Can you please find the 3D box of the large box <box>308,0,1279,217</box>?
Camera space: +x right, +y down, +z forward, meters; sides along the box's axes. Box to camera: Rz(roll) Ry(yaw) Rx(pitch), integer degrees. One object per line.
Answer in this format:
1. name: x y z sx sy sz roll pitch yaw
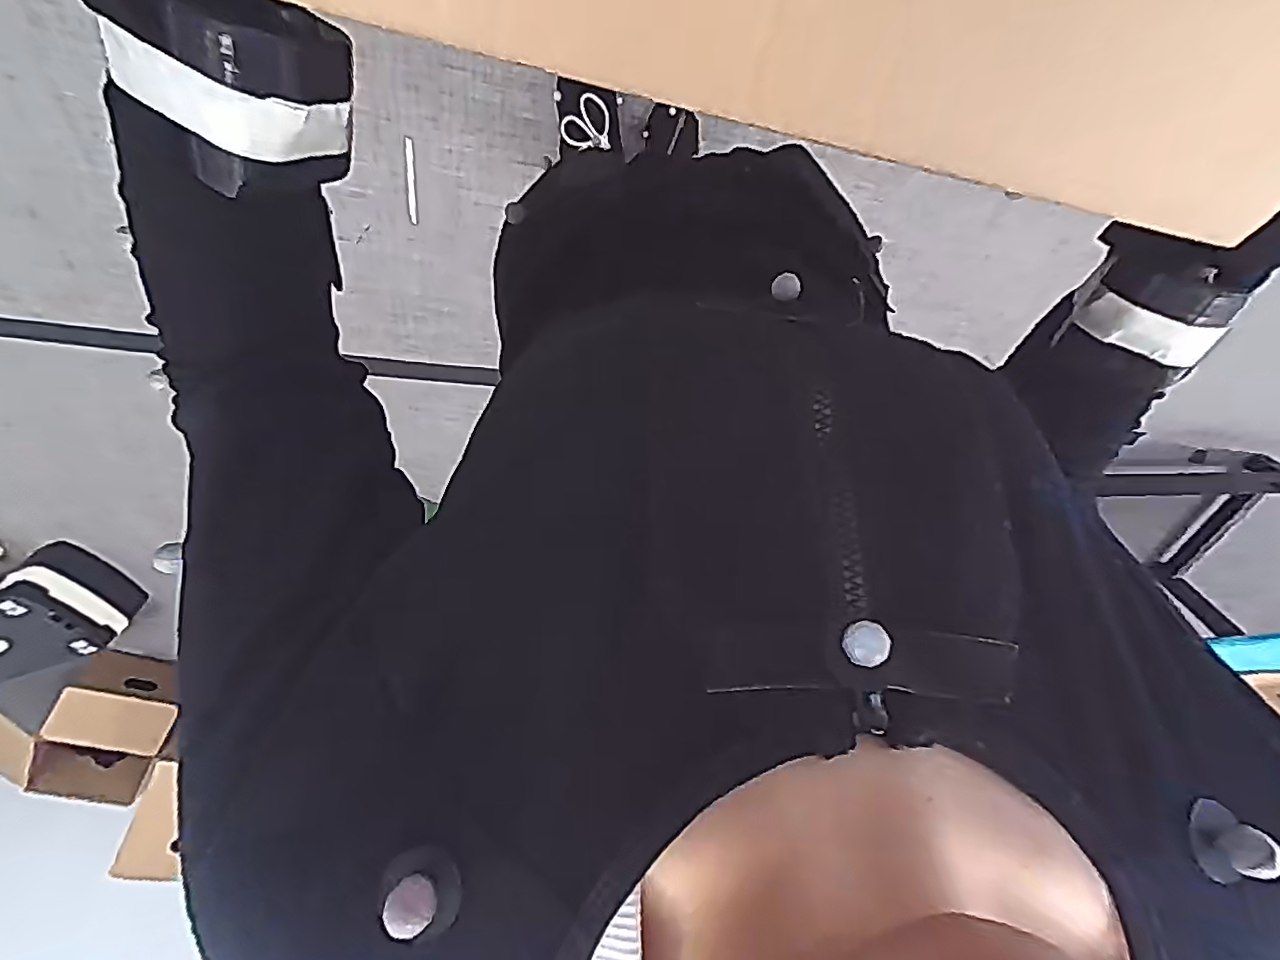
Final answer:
1. large box: 0.098 -0.350 0.192 0.408 0.320 0.320 7 139 -12
